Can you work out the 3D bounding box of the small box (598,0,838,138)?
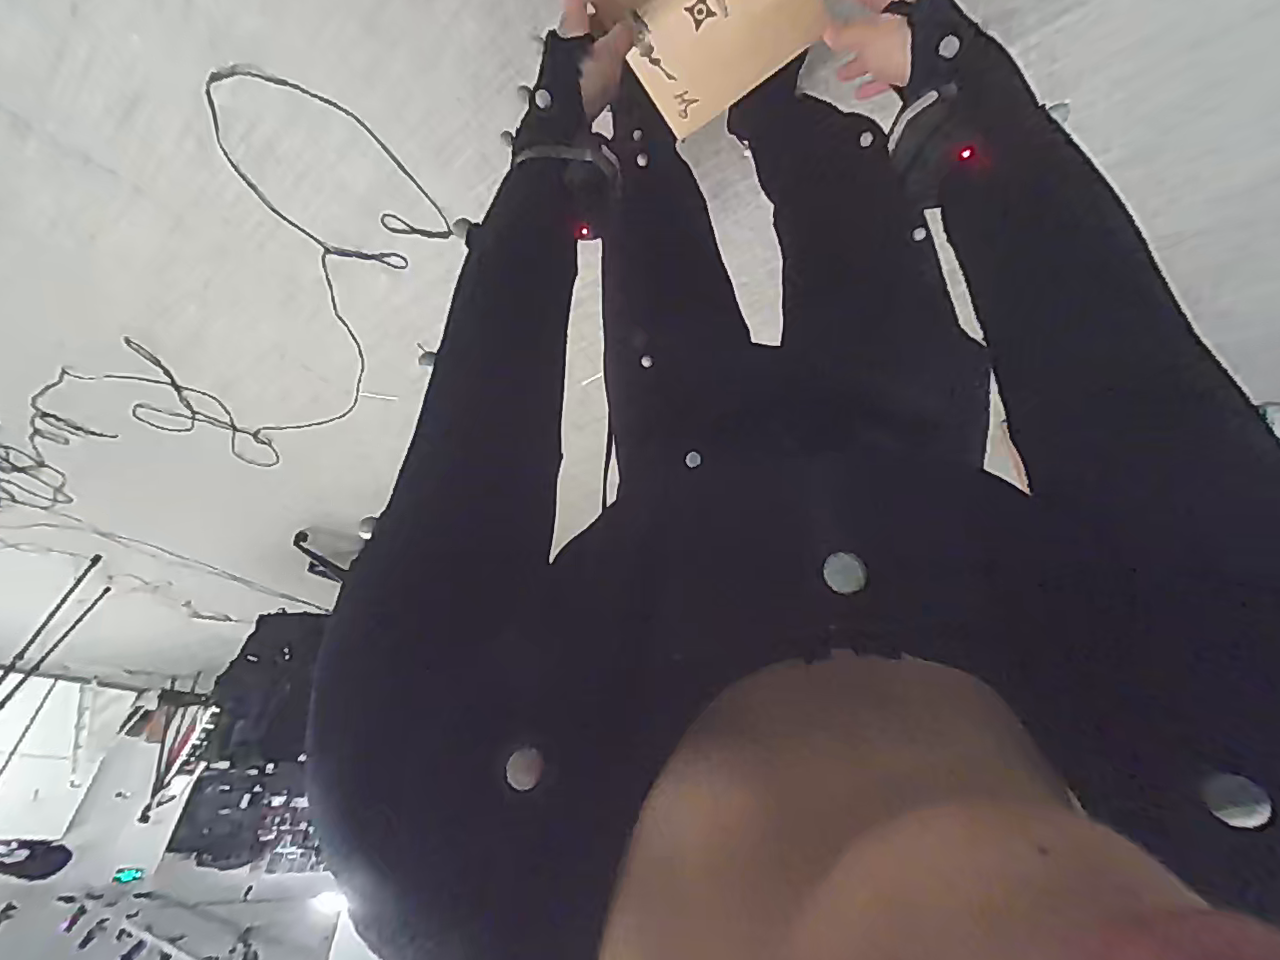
[{"bbox_3d":[0.071,-0.501,0.536,0.179,0.176,0.168,-20,139,31],"label":"small box"}]
